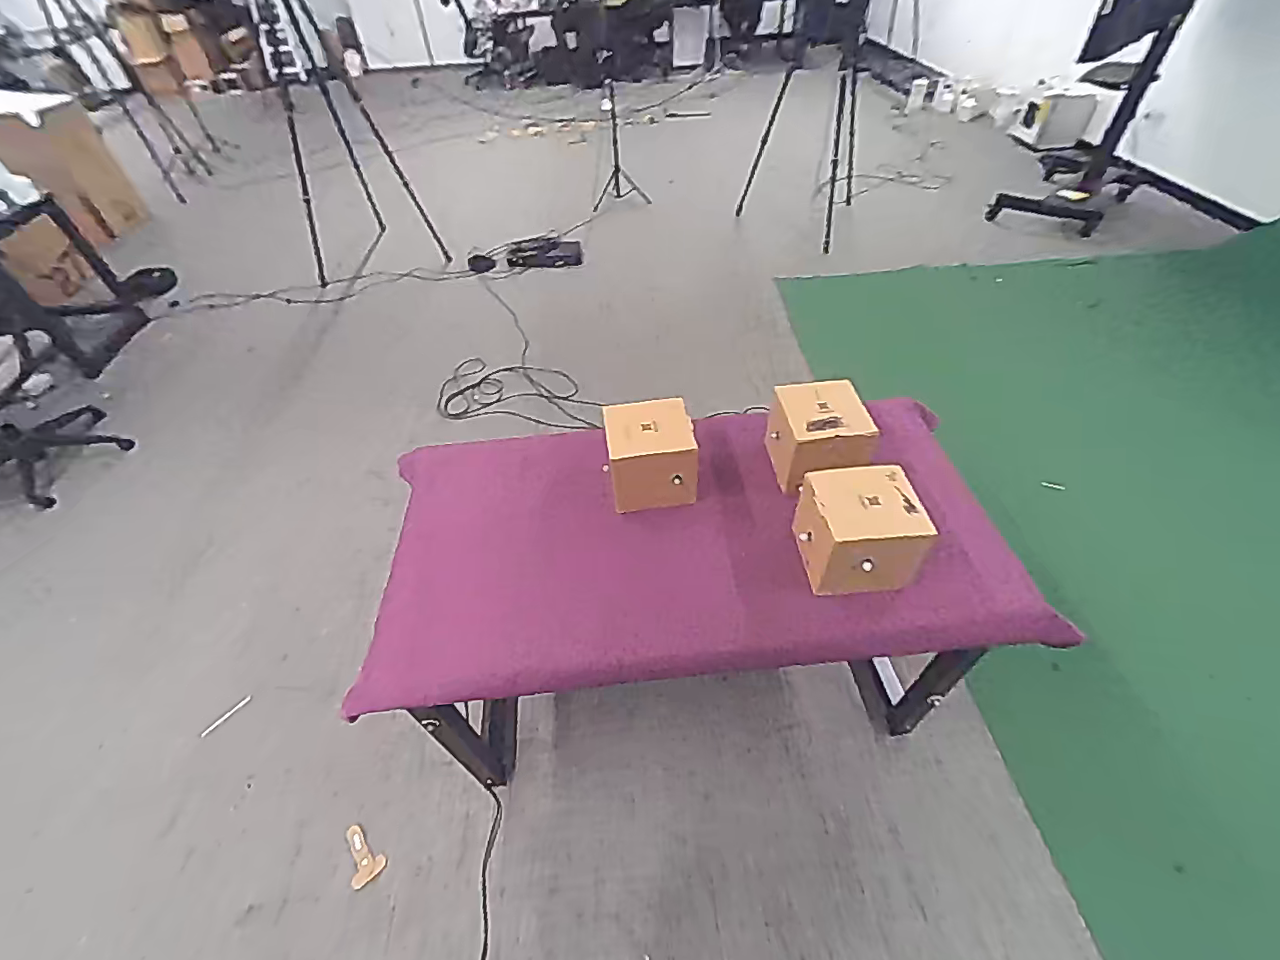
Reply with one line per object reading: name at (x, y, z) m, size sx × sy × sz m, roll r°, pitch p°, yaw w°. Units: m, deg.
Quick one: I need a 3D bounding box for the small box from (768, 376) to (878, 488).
small box at (0.378, -0.096, 1.152) m, size 0.168 × 0.176 × 0.179 m, roll -5°, pitch 47°, yaw -1°

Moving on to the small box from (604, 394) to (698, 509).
small box at (0.021, -0.058, 1.144) m, size 0.179 × 0.176 × 0.168 m, roll -7°, pitch 47°, yaw -2°

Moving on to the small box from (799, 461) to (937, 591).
small box at (0.397, 0.087, 0.981) m, size 0.179 × 0.176 × 0.168 m, roll -5°, pitch 47°, yaw 1°
